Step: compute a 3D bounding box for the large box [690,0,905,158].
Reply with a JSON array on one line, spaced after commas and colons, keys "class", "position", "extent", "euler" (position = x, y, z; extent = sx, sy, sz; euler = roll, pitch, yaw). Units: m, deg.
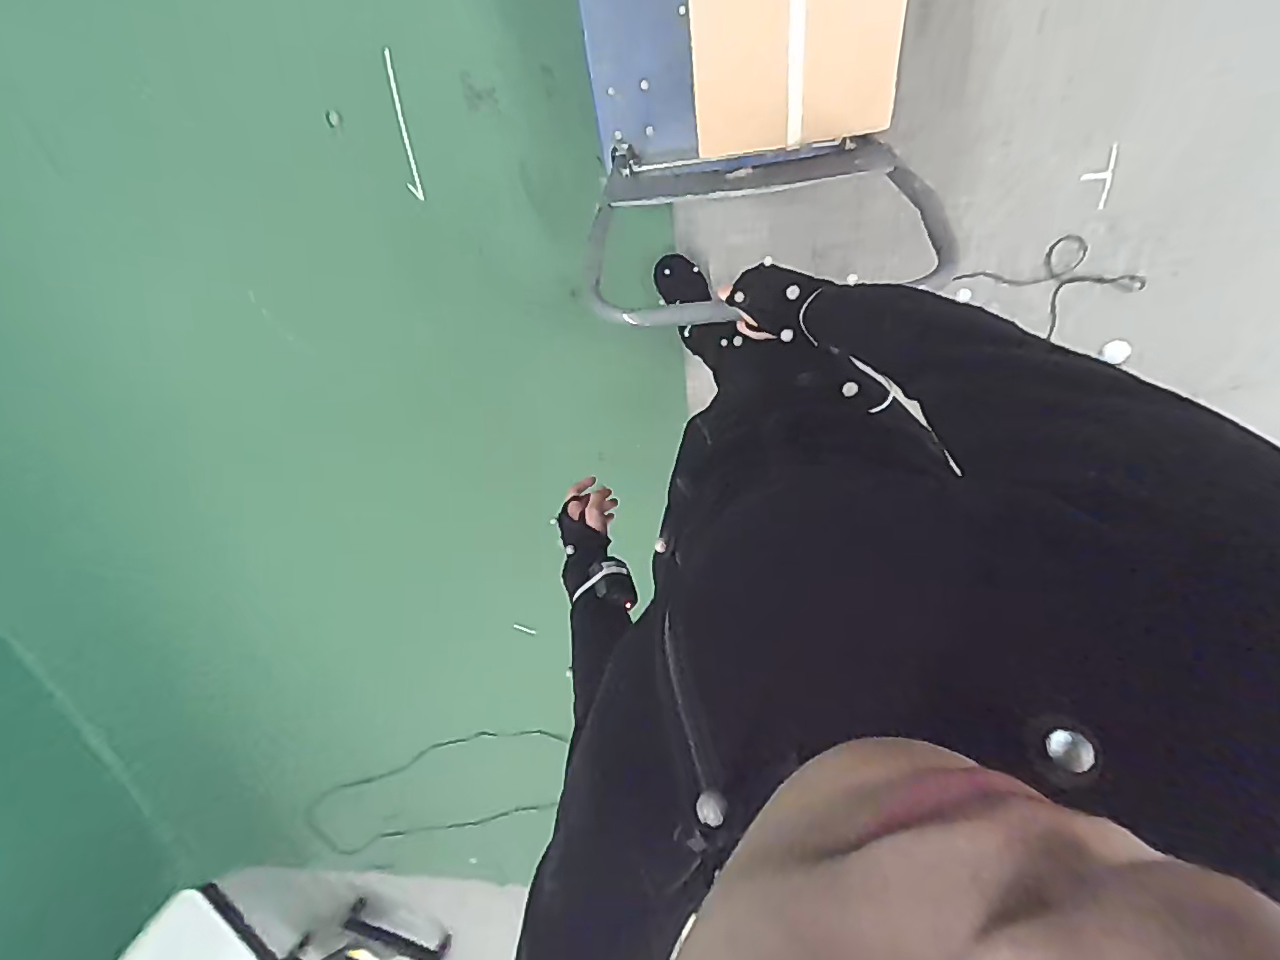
[{"class": "large box", "position": [0.242, -0.812, 0.903], "extent": [0.320, 0.320, 0.408], "euler": [-4, 129, 9]}]
